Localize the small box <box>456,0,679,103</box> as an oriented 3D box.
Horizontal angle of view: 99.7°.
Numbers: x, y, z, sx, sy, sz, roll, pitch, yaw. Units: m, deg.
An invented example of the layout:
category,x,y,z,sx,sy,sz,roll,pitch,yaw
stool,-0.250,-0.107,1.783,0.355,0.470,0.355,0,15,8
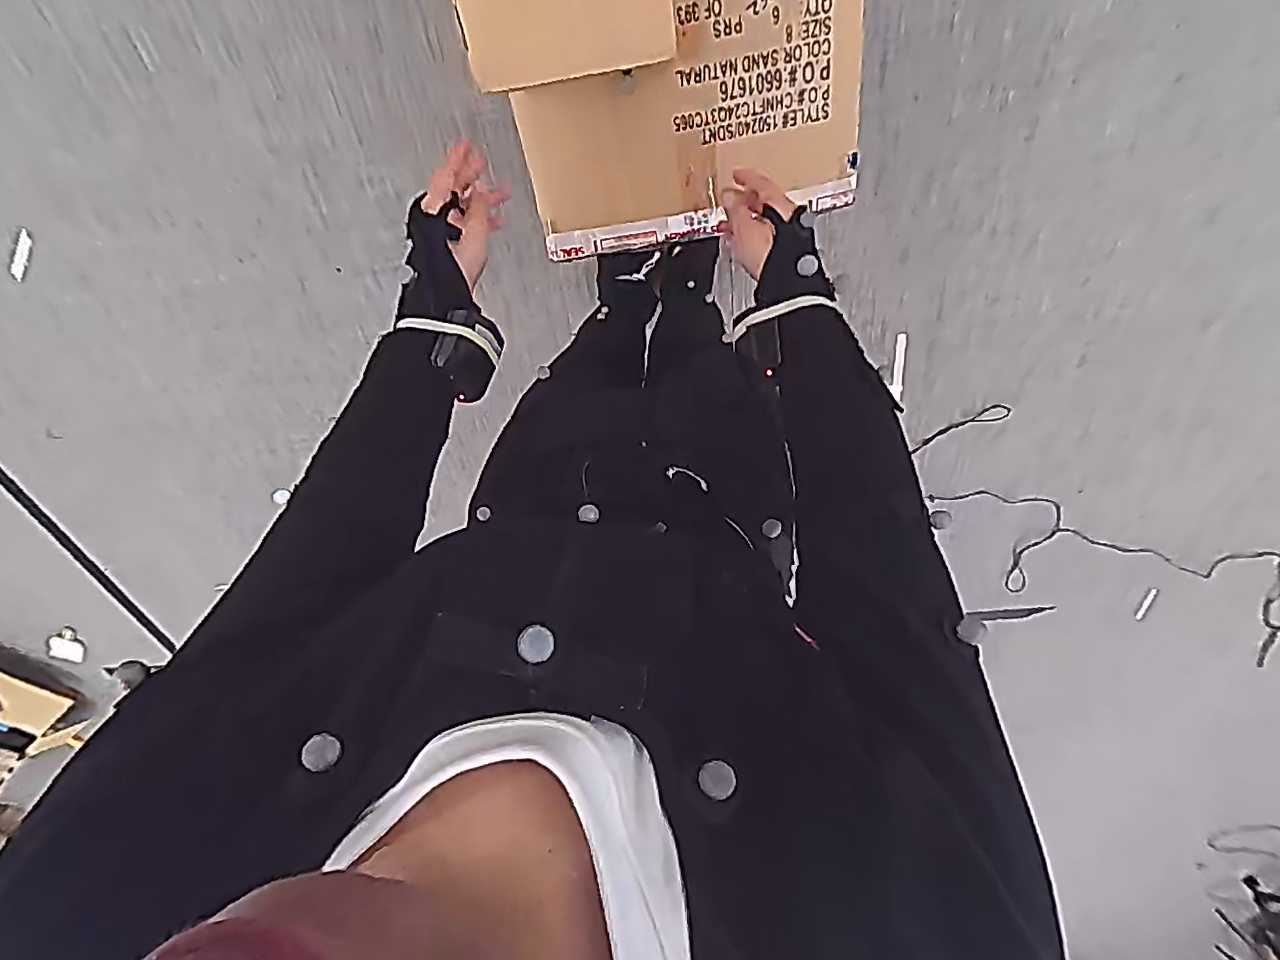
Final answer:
category,x,y,z,sx,sy,sz,roll,pitch,yaw
small box,-0.061,-0.451,0.482,0.179,0.176,0.168,-5,125,7
